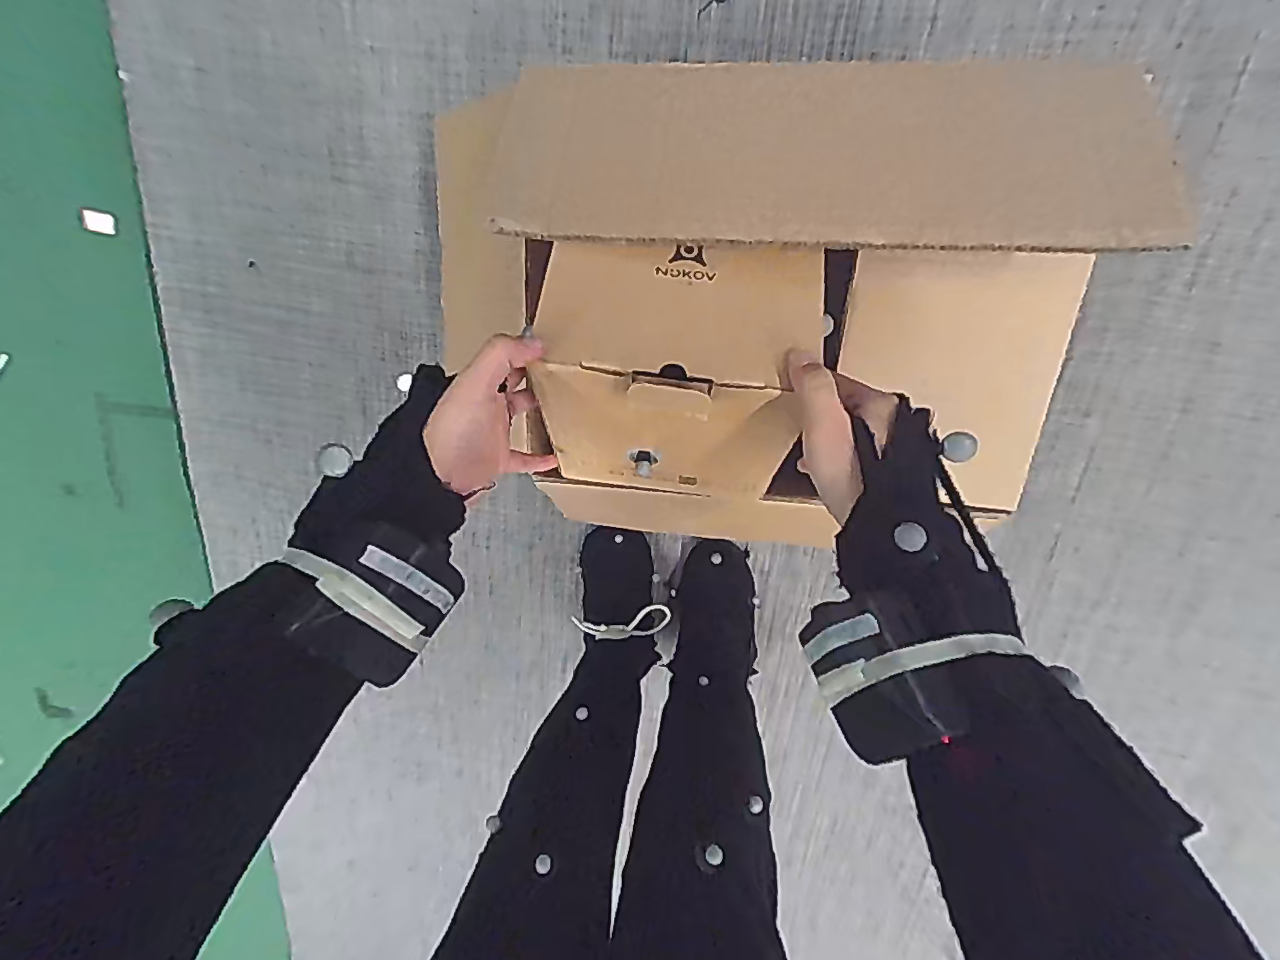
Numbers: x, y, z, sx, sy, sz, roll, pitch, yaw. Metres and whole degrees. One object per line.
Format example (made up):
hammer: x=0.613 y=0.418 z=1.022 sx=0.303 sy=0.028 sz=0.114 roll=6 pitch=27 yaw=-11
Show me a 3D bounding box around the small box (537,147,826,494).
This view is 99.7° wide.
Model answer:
small box: x=0.030 y=-0.106 z=0.407 sx=0.168 sy=0.176 sz=0.179 roll=7 pitch=69 yaw=2
